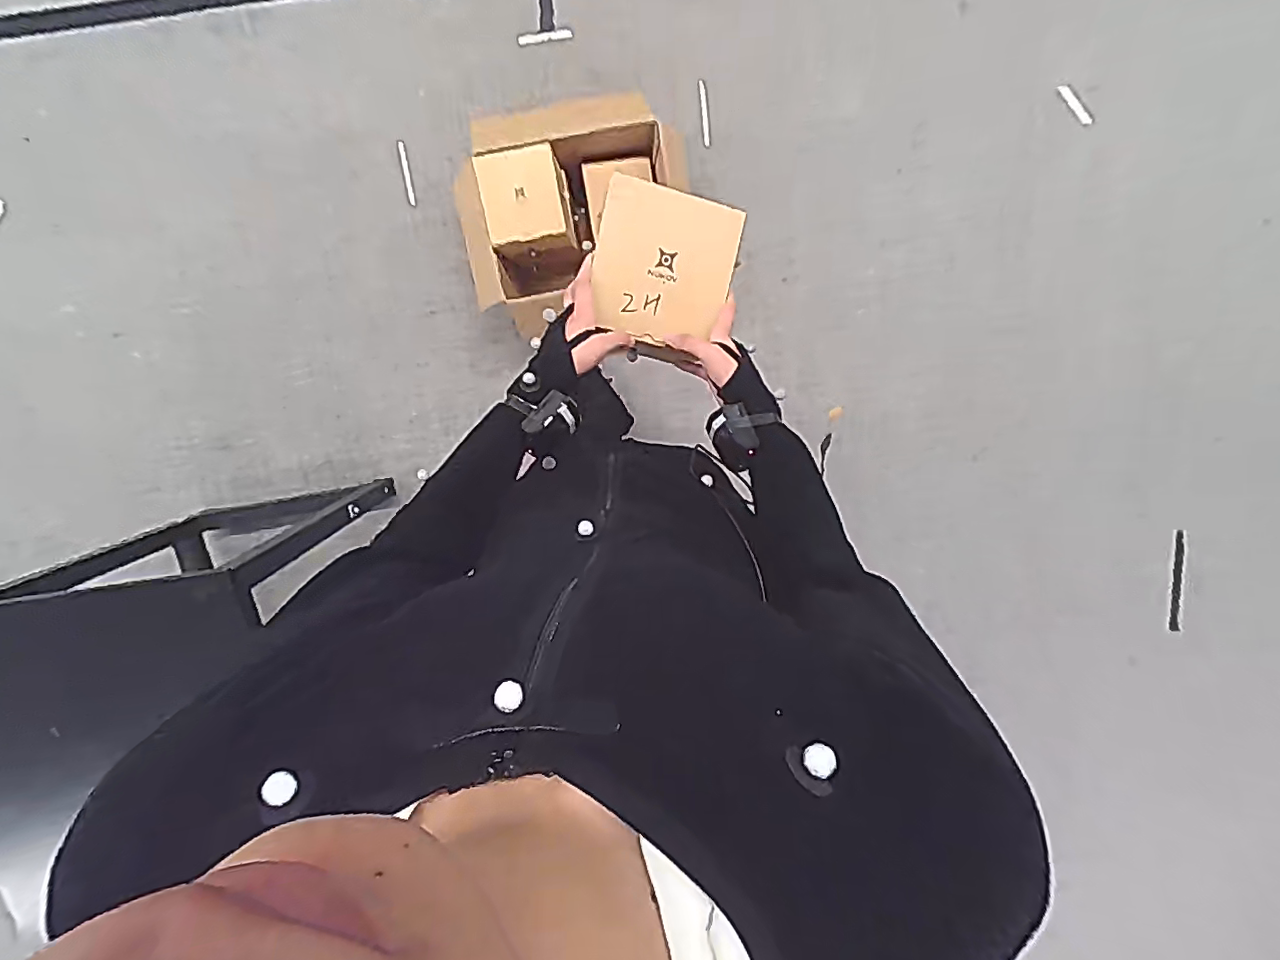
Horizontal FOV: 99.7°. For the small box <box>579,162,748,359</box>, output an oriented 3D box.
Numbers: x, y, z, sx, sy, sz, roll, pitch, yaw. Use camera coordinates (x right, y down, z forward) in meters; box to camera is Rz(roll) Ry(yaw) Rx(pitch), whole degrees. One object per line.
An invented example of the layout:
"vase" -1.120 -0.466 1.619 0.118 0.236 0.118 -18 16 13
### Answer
"small box" 0.017 -0.265 0.699 0.168 0.176 0.179 12 97 -10
